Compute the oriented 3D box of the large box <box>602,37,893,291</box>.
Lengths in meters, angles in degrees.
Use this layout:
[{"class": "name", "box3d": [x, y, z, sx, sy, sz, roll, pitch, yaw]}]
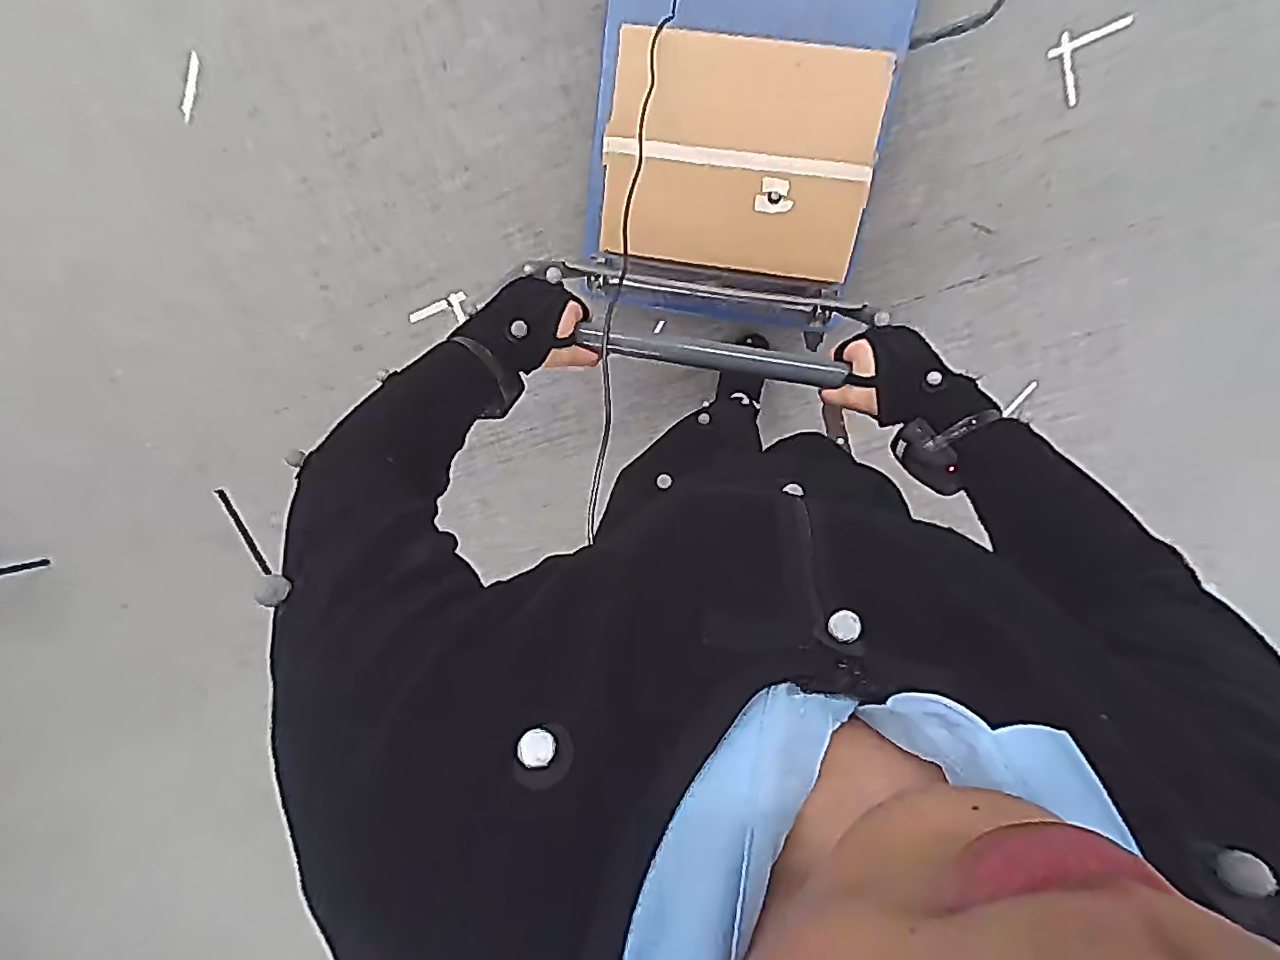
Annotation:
[{"class": "large box", "box3d": [0.163, -0.528, 0.974, 0.408, 0.320, 0.320, 9, 110, 3]}]
